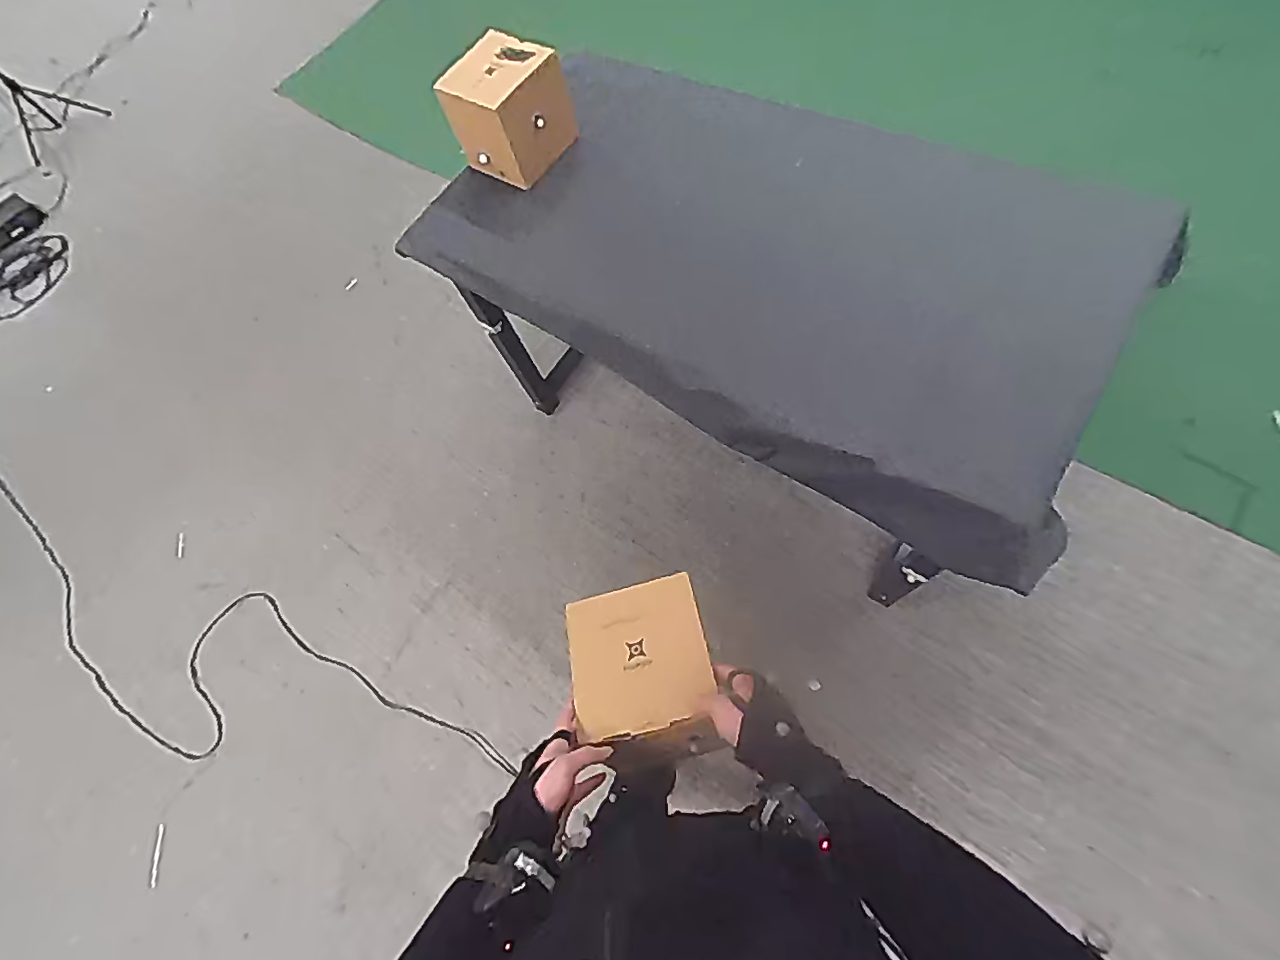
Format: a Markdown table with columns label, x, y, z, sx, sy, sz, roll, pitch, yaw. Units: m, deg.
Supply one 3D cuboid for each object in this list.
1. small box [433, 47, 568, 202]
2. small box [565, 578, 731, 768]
| label | x | y | z | sx | sy | sz | roll | pitch | yaw |
| --- | --- | --- | --- | --- | --- | --- | --- | --- | --- |
| small box | -0.261 | -0.697 | 1.069 | 0.168 | 0.176 | 0.179 | 31 | 76 | 19 |
| small box | 0.013 | 0.260 | 0.708 | 0.168 | 0.176 | 0.179 | -16 | 49 | 3 |
